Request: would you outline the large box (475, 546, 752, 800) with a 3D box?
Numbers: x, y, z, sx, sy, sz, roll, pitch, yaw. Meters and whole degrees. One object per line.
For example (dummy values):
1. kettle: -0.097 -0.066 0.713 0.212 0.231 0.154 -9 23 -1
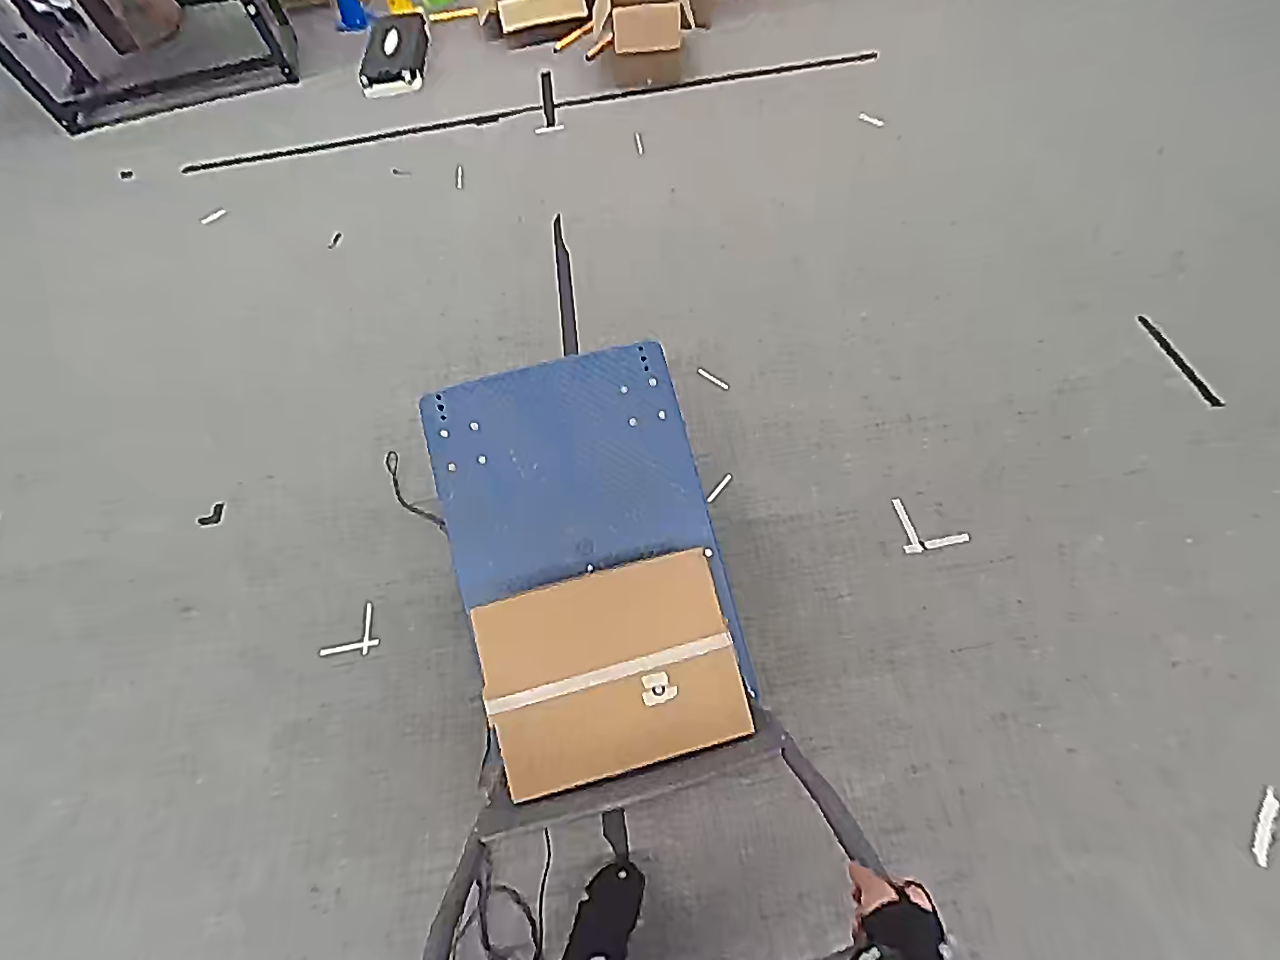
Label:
1. large box: -0.053 0.334 1.042 0.408 0.320 0.320 -15 84 -5
